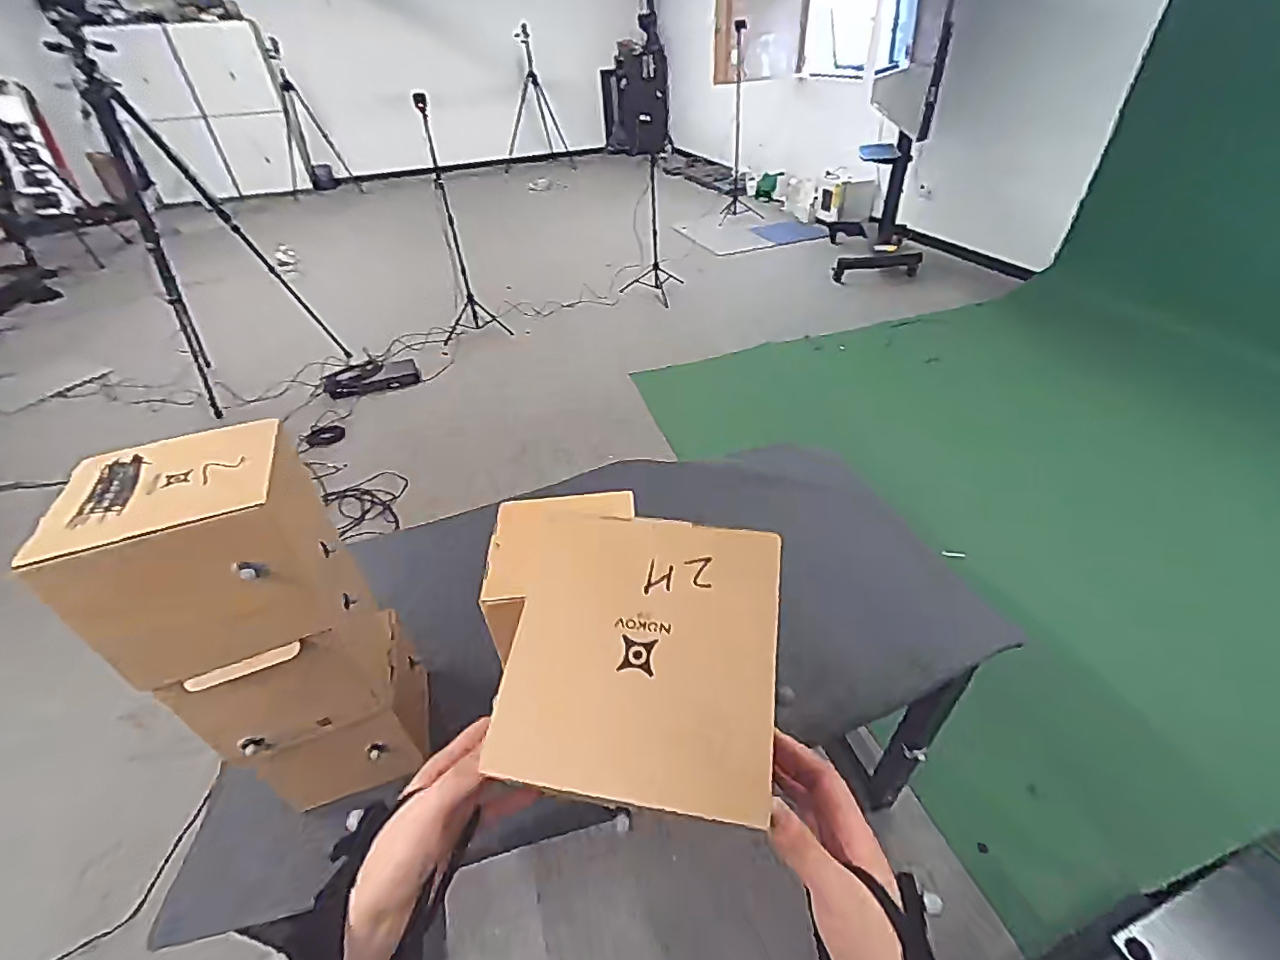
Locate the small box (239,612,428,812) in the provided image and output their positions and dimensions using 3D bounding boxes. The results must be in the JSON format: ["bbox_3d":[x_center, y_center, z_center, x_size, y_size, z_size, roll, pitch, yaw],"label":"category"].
[{"bbox_3d":[-0.406,0.321,0.754,0.179,0.176,0.168,-16,39,-13],"label":"small box"}]

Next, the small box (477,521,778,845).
[{"bbox_3d":[0.010,0.151,0.400,0.168,0.176,0.179,4,57,11],"label":"small box"}]

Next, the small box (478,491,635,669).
[{"bbox_3d":[-0.087,0.136,0.687,0.179,0.176,0.168,-6,39,-1],"label":"small box"}]

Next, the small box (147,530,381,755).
[{"bbox_3d":[-0.425,0.197,0.648,0.168,0.176,0.179,-18,39,-17],"label":"small box"}]
